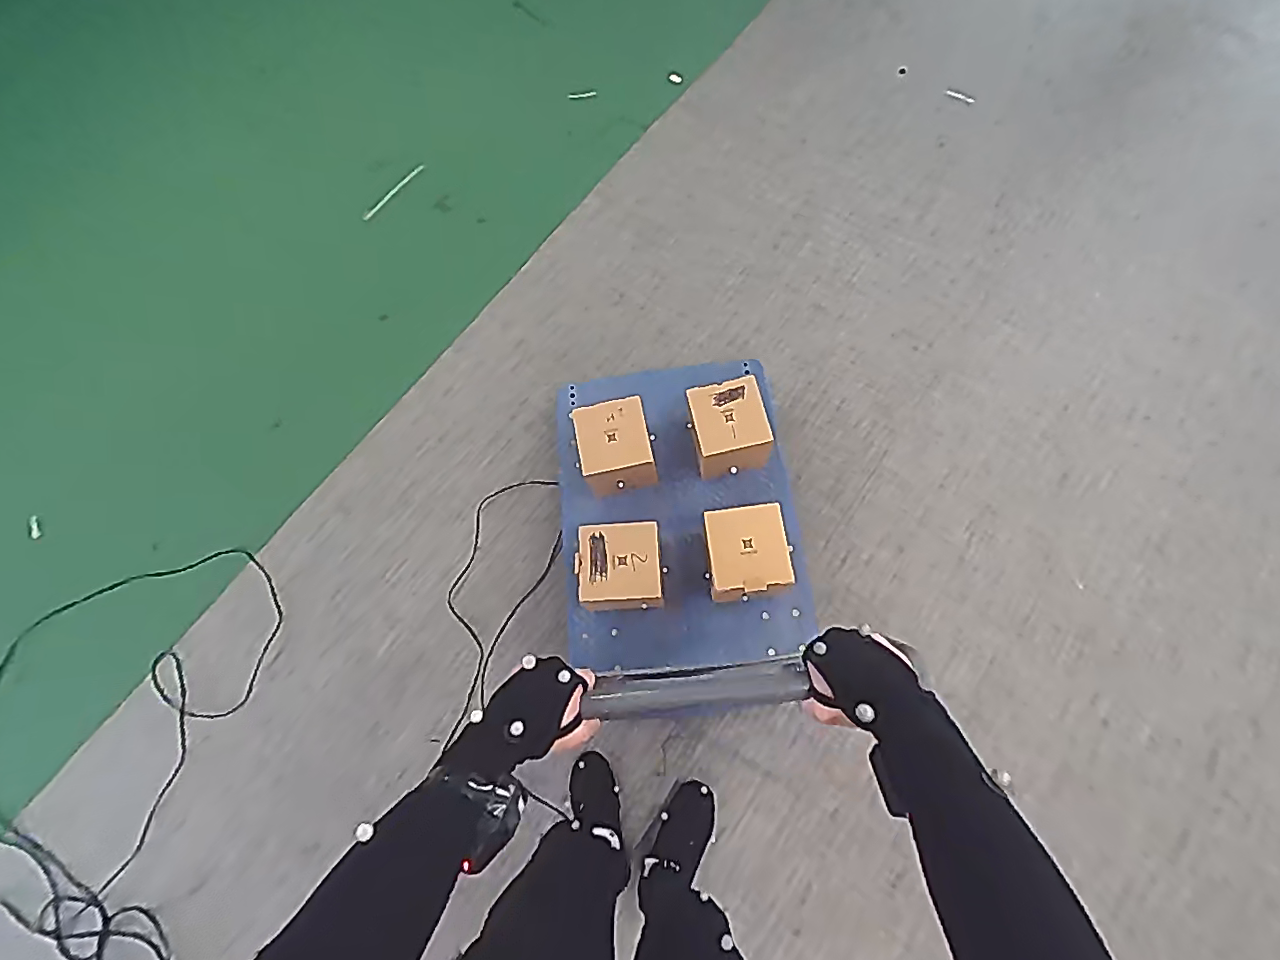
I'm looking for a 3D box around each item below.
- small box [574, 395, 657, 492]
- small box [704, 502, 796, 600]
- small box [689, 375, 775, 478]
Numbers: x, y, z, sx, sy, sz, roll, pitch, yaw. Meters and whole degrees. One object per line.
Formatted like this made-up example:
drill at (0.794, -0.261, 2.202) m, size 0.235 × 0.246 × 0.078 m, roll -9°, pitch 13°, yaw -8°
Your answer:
small box at (-0.055, -0.080, 1.322) m, size 0.168 × 0.176 × 0.179 m, roll -11°, pitch 70°, yaw 0°
small box at (0.237, 0.164, 1.212) m, size 0.168 × 0.176 × 0.179 m, roll -7°, pitch 71°, yaw 2°
small box at (0.215, -0.125, 1.313) m, size 0.168 × 0.176 × 0.179 m, roll -13°, pitch 71°, yaw 1°
